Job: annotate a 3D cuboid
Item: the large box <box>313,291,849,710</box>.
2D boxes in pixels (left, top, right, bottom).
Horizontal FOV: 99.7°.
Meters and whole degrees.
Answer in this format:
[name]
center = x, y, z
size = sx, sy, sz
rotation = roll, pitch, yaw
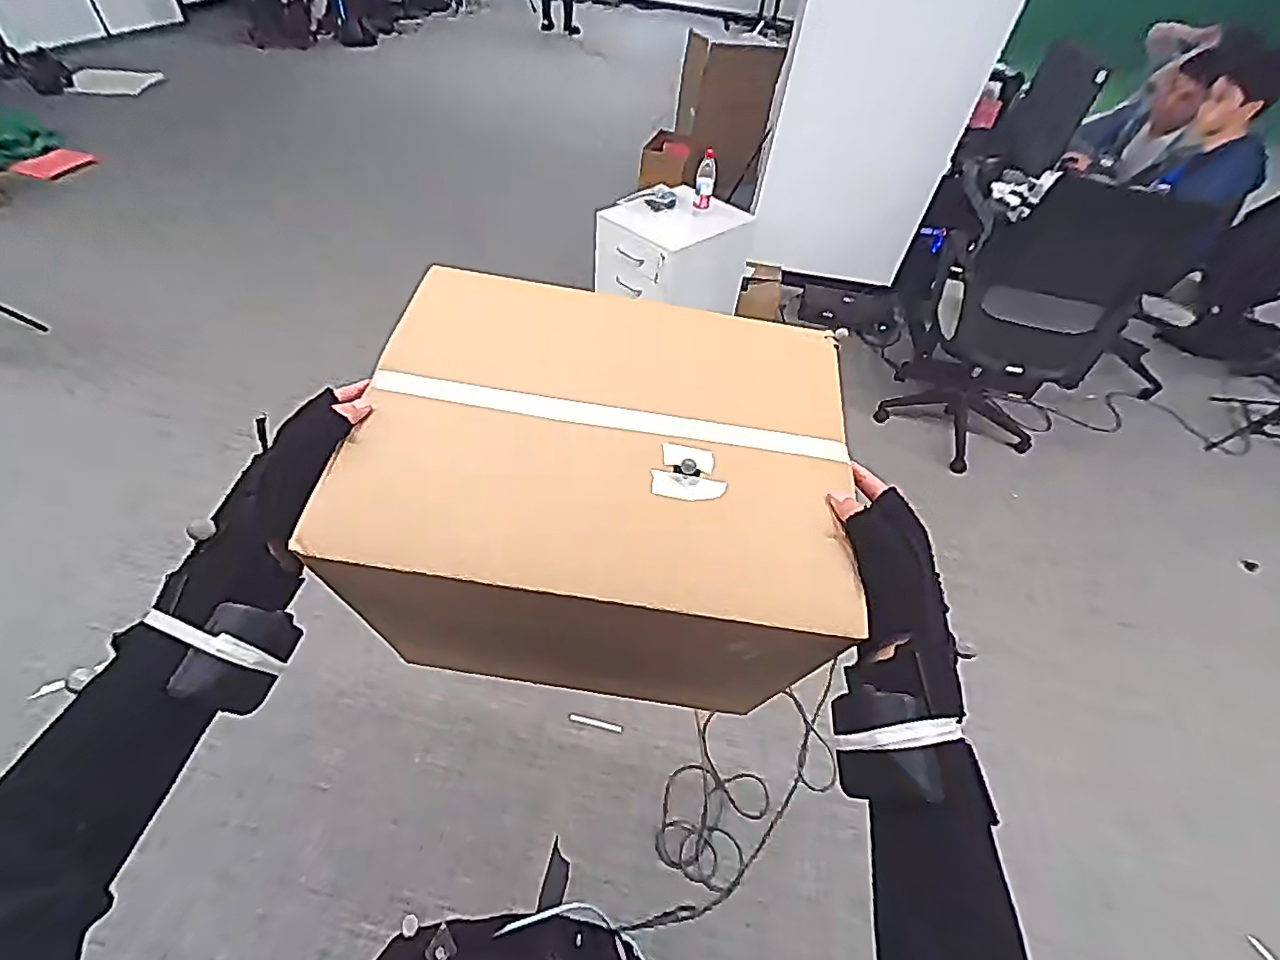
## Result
[large box]
center = -0.043, 0.042, 0.597
size = 0.408, 0.320, 0.320
rotation = 9, 58, -2
